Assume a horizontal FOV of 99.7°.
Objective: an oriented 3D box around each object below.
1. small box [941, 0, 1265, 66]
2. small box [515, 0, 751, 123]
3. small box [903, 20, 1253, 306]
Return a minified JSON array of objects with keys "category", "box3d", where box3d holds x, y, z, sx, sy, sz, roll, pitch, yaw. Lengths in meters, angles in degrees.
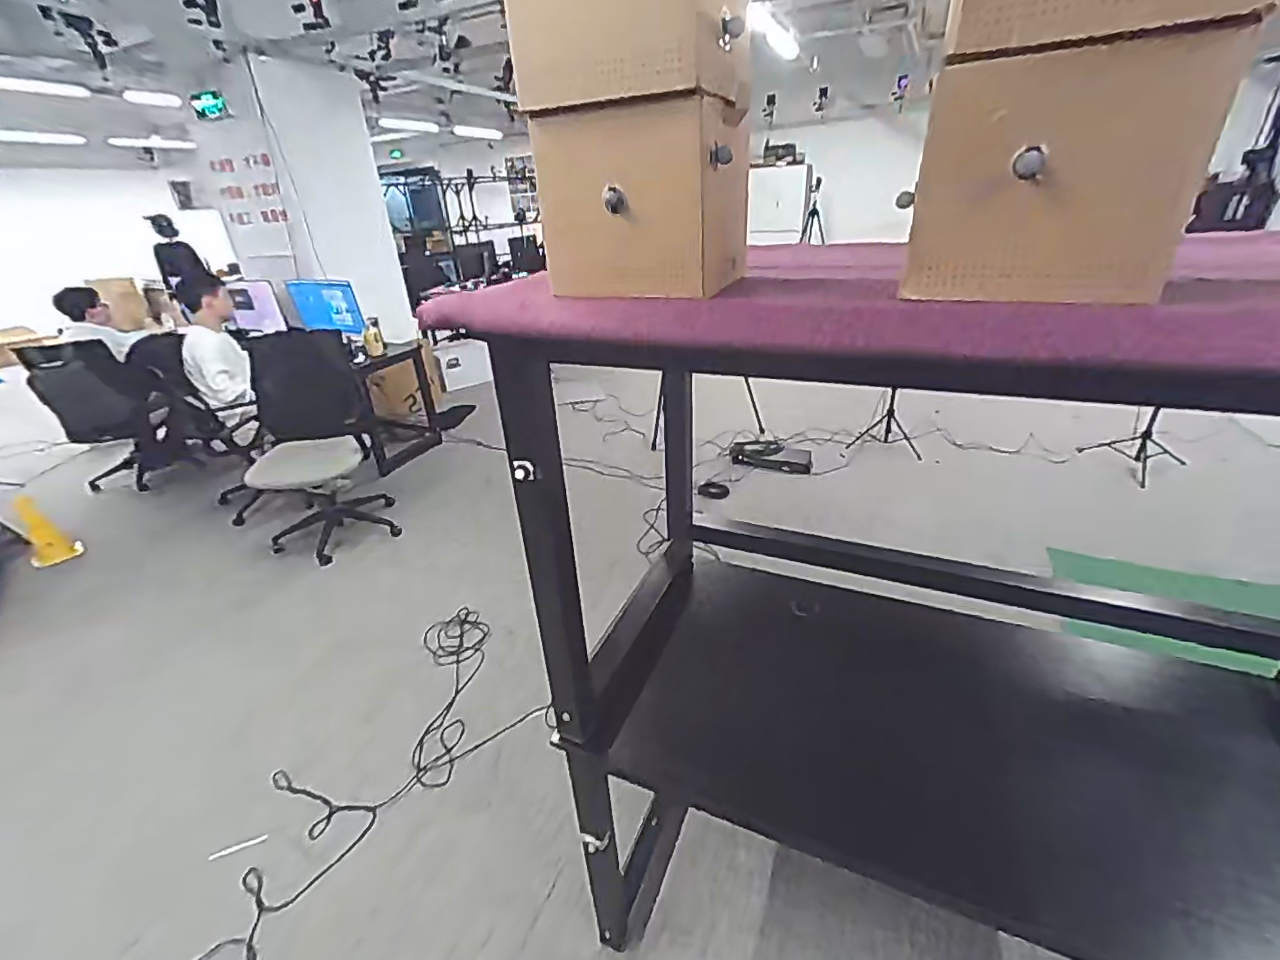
[{"category":"small box","box3d":[0.322,-0.387,0.374,0.179,0.176,0.168,13,31,26]},{"category":"small box","box3d":[-0.003,-0.433,0.492,0.179,0.176,0.168,10,31,22]},{"category":"small box","box3d":[0.329,-0.245,0.455,0.179,0.176,0.168,10,31,24]}]
